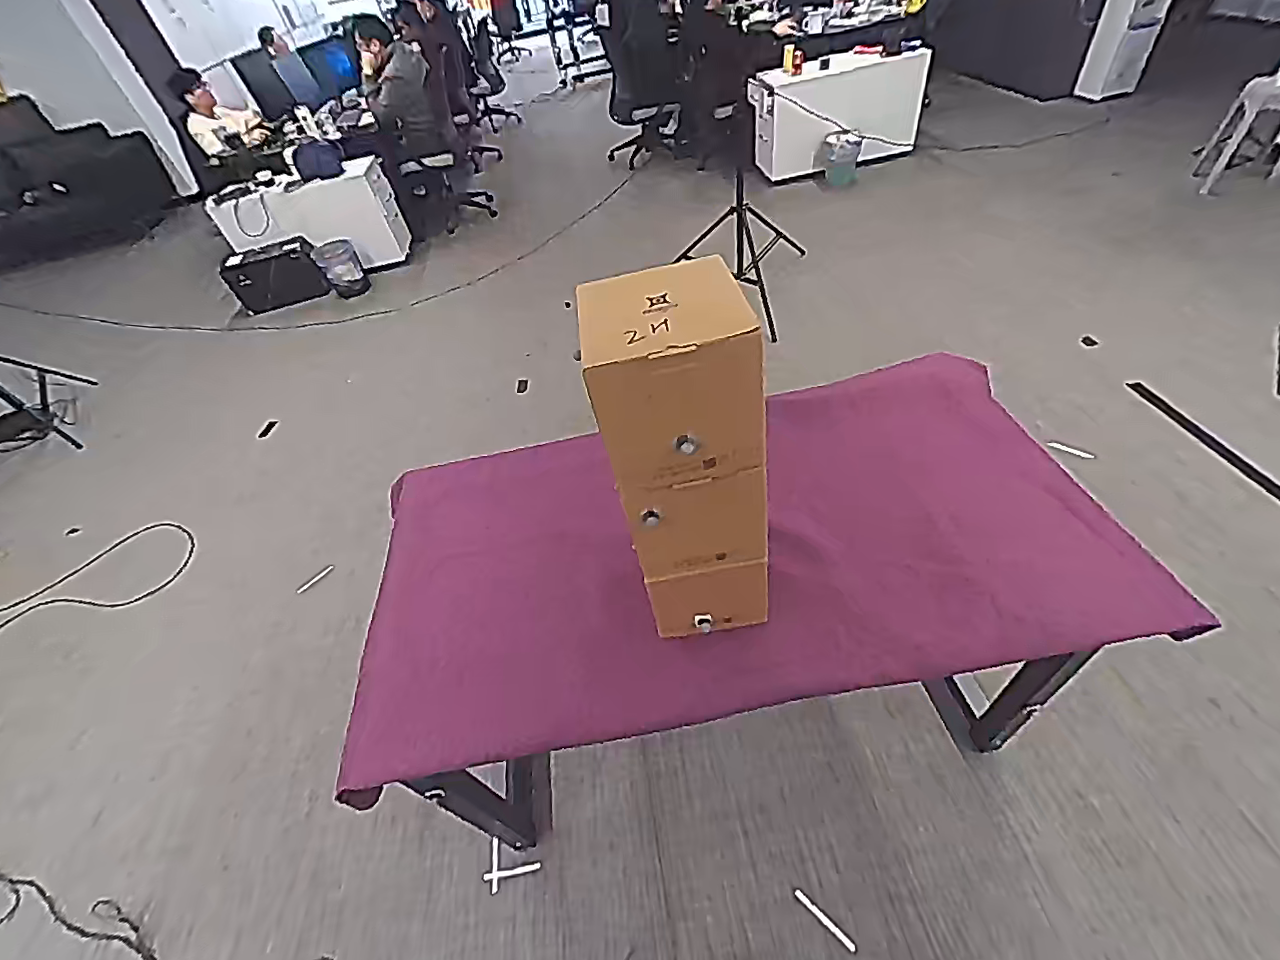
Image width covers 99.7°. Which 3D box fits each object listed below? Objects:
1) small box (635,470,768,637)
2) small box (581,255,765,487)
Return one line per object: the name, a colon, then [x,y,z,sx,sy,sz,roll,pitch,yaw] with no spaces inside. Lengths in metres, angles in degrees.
small box: [0.091,0.113,0.825,0.168,0.176,0.179,-11,46,2]
small box: [0.035,-0.119,0.597,0.168,0.176,0.179,-12,44,2]
